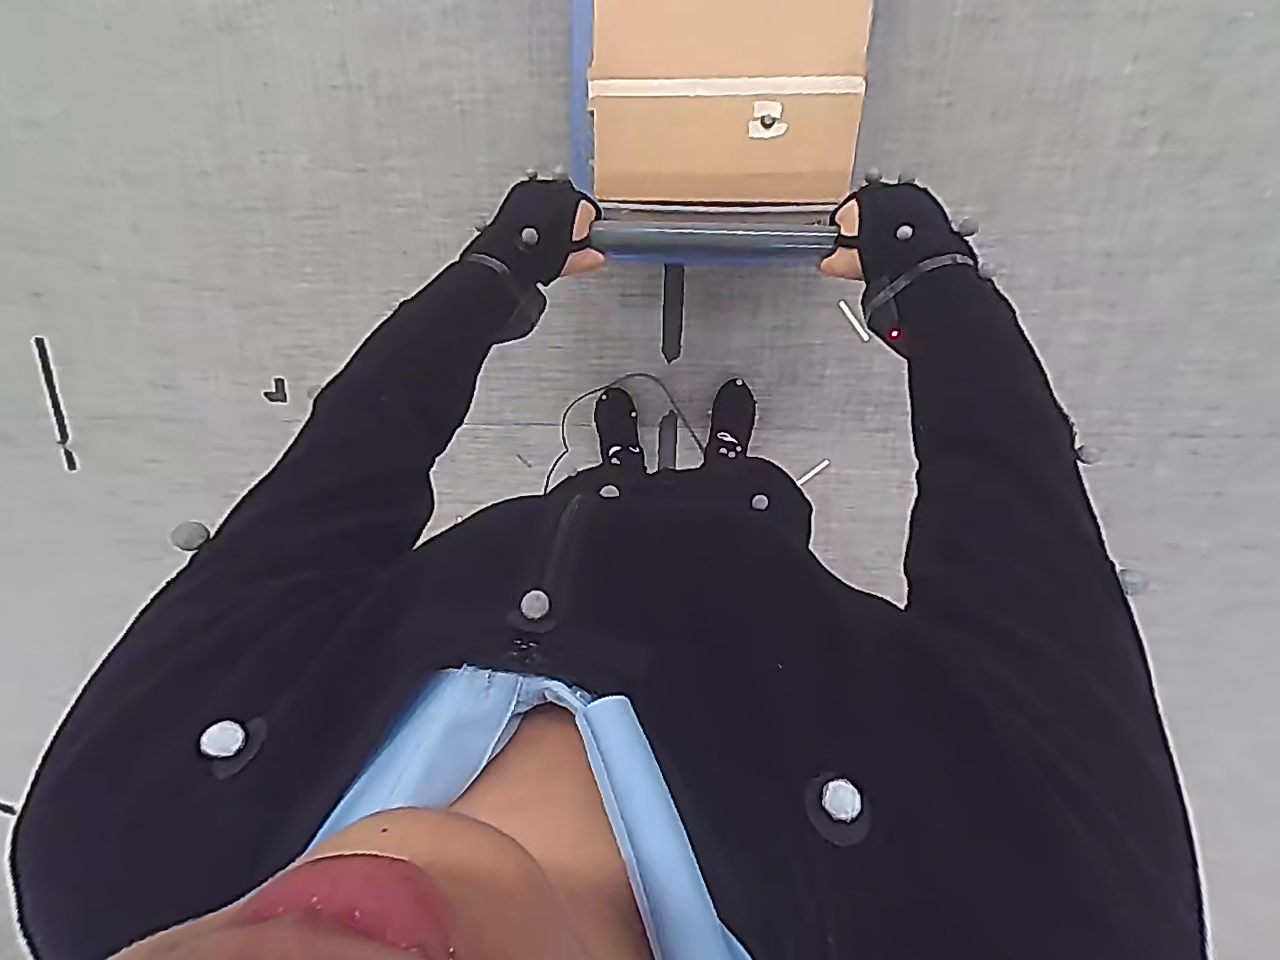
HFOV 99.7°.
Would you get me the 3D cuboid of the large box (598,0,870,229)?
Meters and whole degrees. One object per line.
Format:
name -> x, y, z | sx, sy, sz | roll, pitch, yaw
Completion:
large box -> 0.145, -0.642, 0.974 | 0.408, 0.320, 0.320 | 3, 109, 4
